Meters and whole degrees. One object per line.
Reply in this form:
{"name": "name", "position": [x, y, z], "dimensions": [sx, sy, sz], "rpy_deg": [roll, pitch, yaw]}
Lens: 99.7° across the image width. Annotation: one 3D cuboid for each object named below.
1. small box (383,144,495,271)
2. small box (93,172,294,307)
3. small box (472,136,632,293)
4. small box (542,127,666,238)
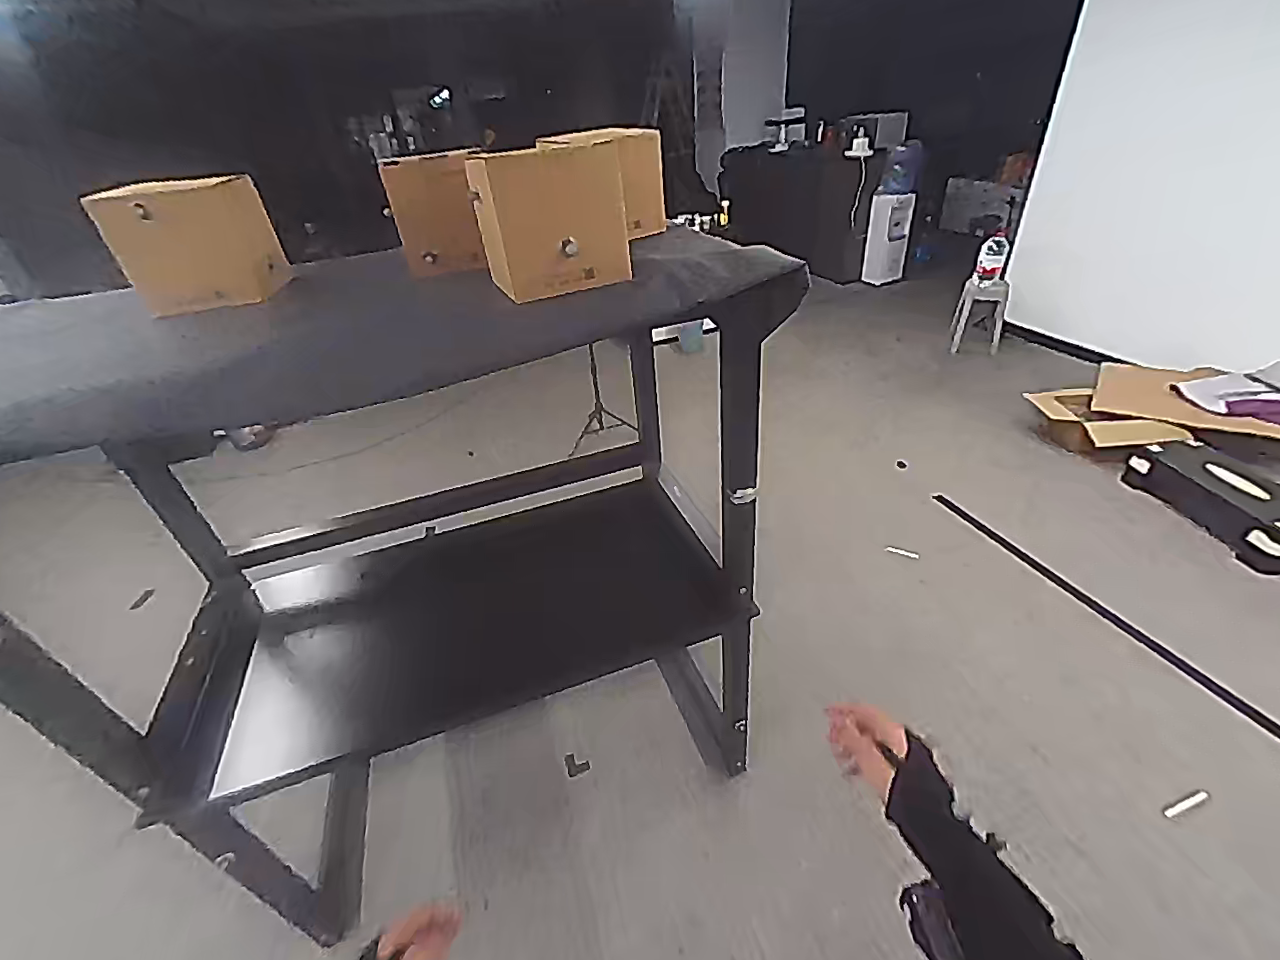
{"name": "small box", "position": [-0.327, -0.468, 0.931], "dimensions": [0.168, 0.176, 0.179], "rpy_deg": [-16, 35, -15]}
{"name": "small box", "position": [-0.691, -0.389, 0.869], "dimensions": [0.168, 0.176, 0.179], "rpy_deg": [-12, 35, -9]}
{"name": "small box", "position": [-0.122, -0.367, 0.750], "dimensions": [0.168, 0.176, 0.179], "rpy_deg": [-18, 35, -16]}
{"name": "small box", "position": [-0.066, -0.554, 1.013], "dimensions": [0.168, 0.176, 0.179], "rpy_deg": [-23, 40, -21]}
